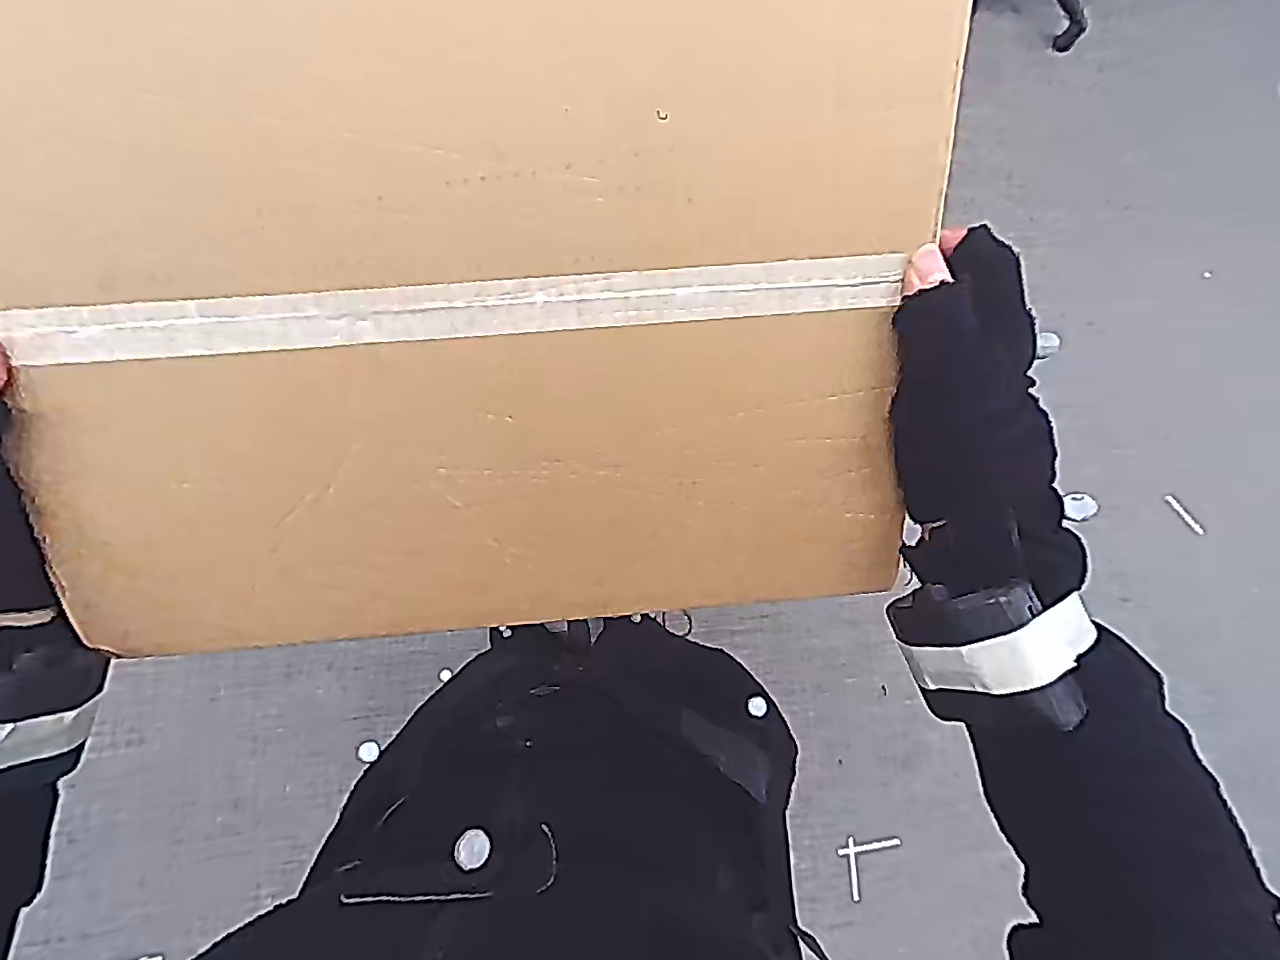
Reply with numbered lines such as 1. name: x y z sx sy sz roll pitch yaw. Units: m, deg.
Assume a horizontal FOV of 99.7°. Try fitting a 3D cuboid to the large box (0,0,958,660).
1. large box: -0.081 -0.117 0.374 0.408 0.320 0.320 -4 111 -3
